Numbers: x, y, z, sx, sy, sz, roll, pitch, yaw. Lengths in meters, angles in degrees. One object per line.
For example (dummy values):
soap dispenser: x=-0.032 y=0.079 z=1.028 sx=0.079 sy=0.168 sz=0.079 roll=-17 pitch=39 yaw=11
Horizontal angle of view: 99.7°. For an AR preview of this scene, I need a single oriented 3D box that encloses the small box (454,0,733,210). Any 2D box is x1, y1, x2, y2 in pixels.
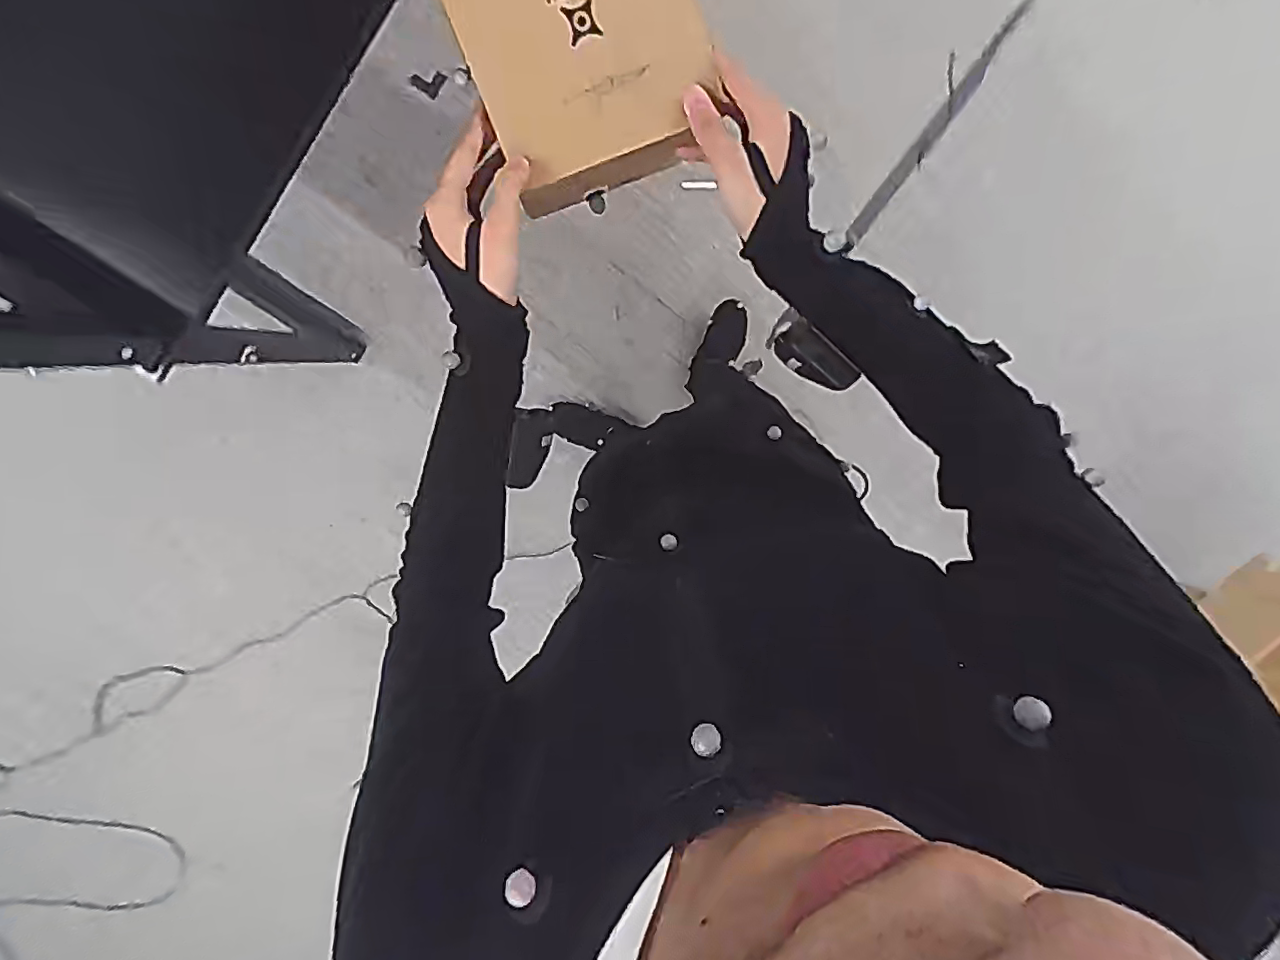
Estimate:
small box: x=-0.047 y=-0.343 z=0.434 sx=0.168 sy=0.176 sz=0.179 roll=-21 pitch=110 yaw=-1
